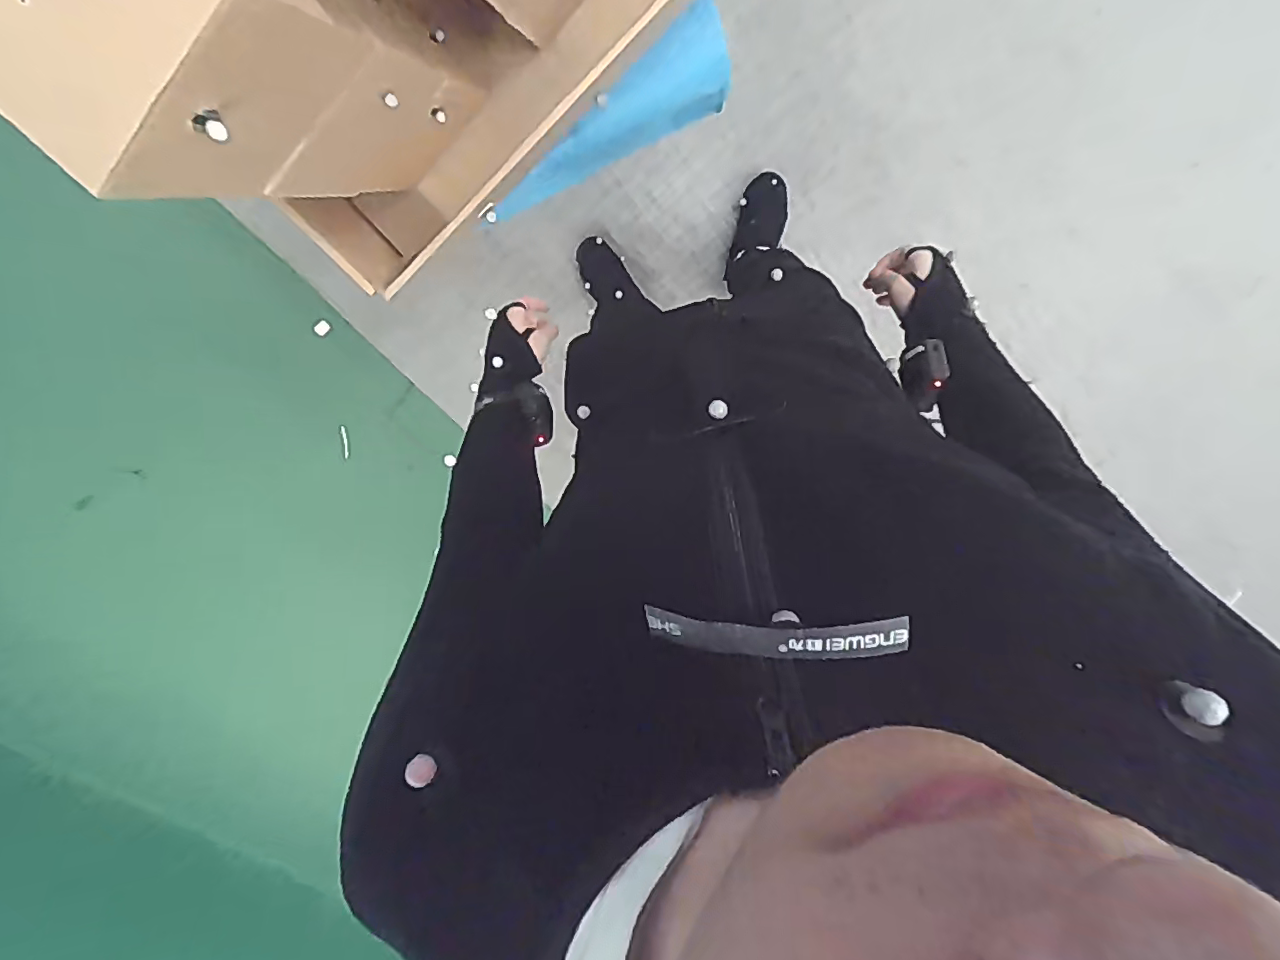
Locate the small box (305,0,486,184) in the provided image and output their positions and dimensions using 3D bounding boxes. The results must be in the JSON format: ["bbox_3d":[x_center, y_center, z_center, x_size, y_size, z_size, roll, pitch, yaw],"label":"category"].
[{"bbox_3d":[-0.319,-0.492,0.662,0.179,0.176,0.168,-36,112,20],"label":"small box"}]

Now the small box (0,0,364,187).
[{"bbox_3d":[-0.336,-0.332,0.375,0.179,0.176,0.168,-34,112,19],"label":"small box"}]
